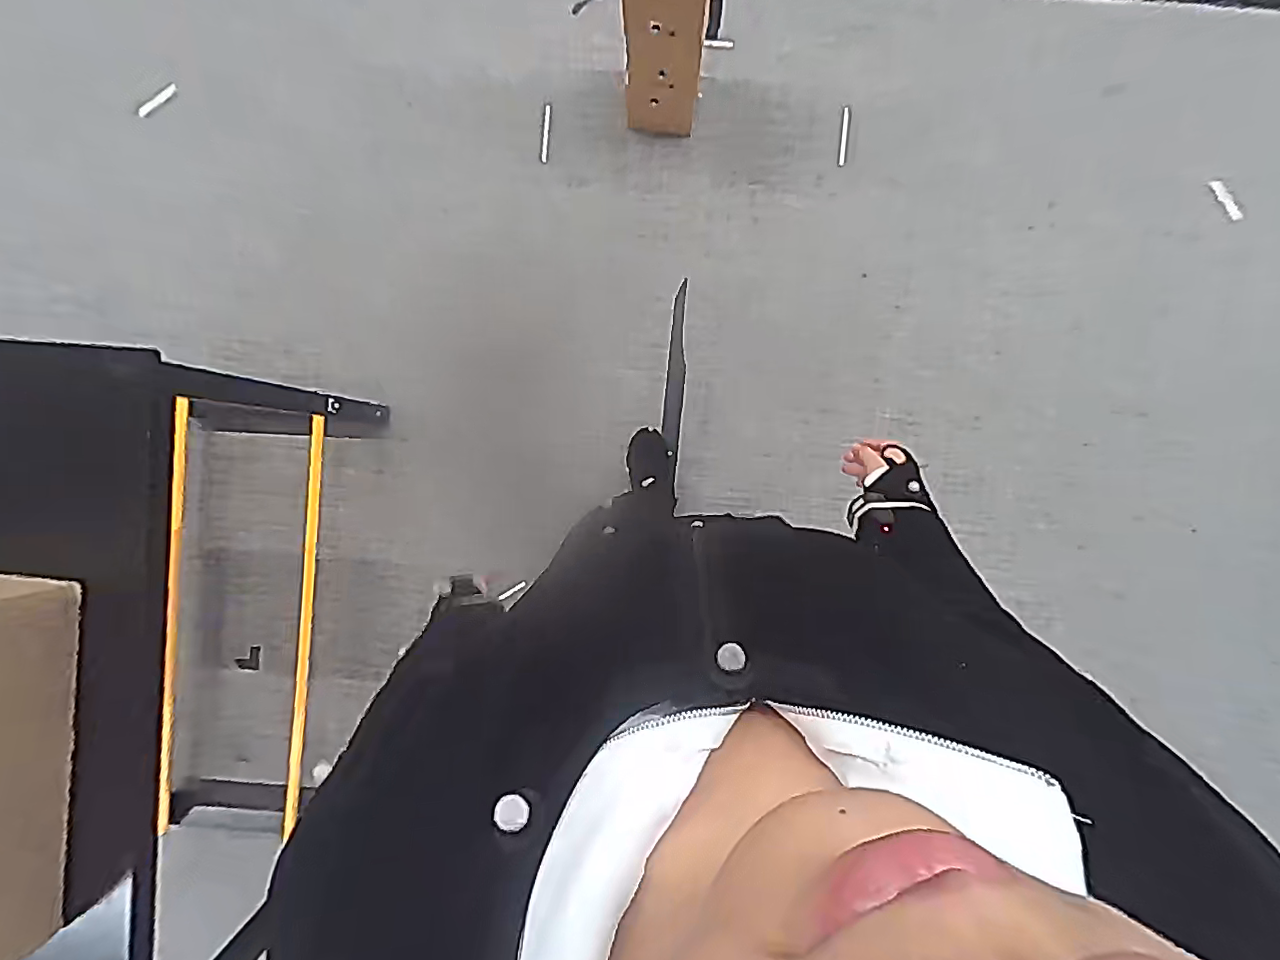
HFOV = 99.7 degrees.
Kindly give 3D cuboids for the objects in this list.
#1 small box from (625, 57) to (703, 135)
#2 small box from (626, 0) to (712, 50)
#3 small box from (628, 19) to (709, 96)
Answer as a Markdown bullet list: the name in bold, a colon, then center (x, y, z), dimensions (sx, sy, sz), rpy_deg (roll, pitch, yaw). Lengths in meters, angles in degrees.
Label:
- **small box**: center (0.064, -1.010, 1.371), dimensions (0.179, 0.176, 0.168), rpy_deg (8, 92, 1)
- **small box**: center (0.062, -0.989, 1.044), dimensions (0.168, 0.176, 0.179), rpy_deg (8, 93, 2)
- **small box**: center (0.067, -1.009, 1.206), dimensions (0.168, 0.176, 0.179), rpy_deg (8, 93, 1)
